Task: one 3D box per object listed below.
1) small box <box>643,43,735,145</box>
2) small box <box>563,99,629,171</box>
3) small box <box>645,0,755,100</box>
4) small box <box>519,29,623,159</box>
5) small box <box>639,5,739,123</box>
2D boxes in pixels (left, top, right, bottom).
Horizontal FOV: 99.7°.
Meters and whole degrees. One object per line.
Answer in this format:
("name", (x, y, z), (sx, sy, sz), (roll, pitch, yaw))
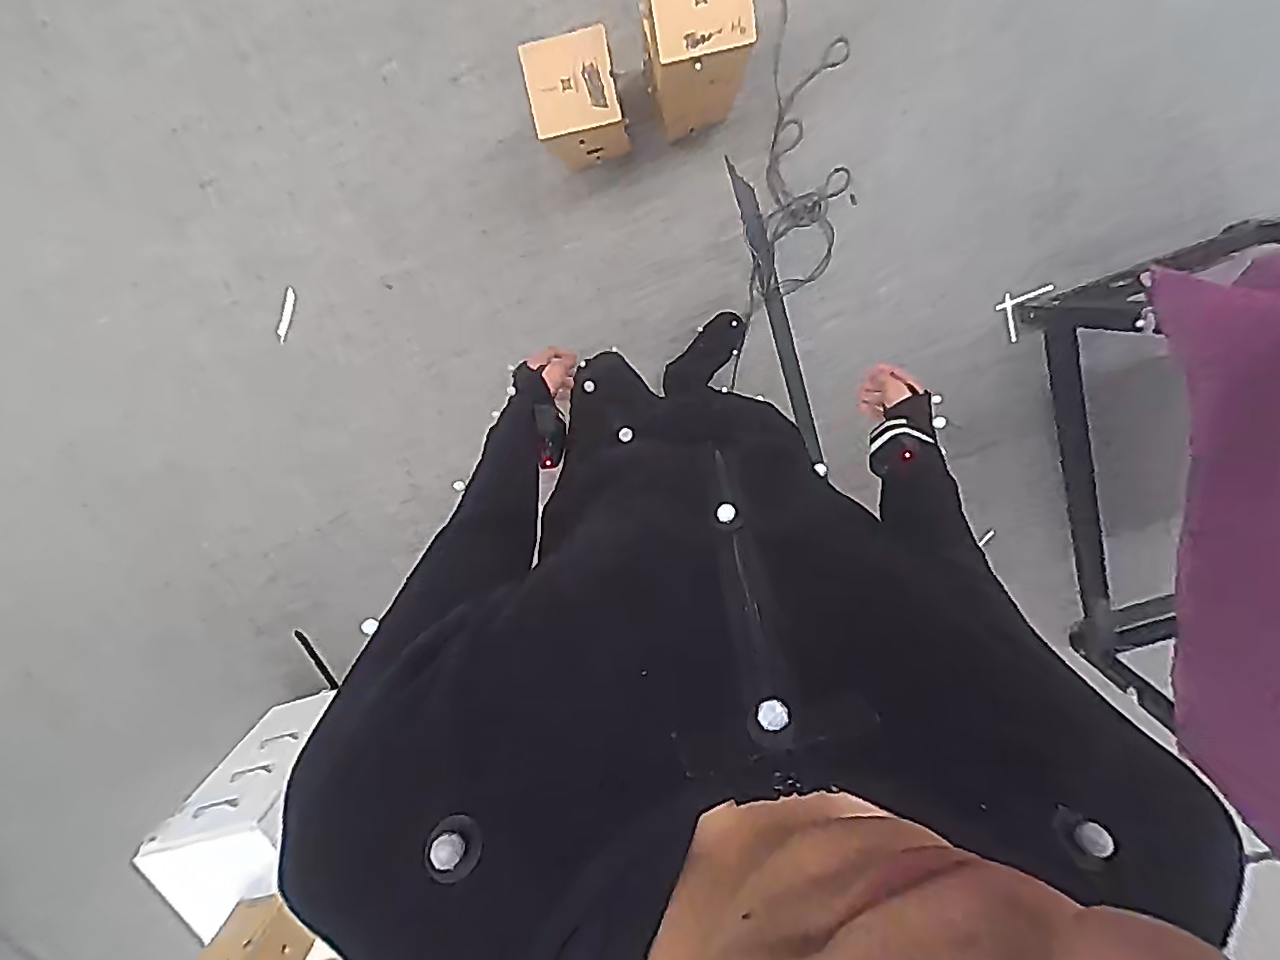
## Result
("small box", (0.111, -0.926, 1.266), (0.168, 0.176, 0.179), (-18, 108, 9))
("small box", (-0.128, -0.869, 1.290), (0.168, 0.176, 0.179), (-13, 108, 7))
("small box", (0.100, -0.818, 0.959), (0.168, 0.176, 0.179), (-10, 107, 5))
("small box", (-0.135, -0.801, 1.140), (0.179, 0.176, 0.168), (-10, 108, 6))
("small box", (0.106, -0.873, 1.113), (0.179, 0.176, 0.168), (-16, 107, 7))
